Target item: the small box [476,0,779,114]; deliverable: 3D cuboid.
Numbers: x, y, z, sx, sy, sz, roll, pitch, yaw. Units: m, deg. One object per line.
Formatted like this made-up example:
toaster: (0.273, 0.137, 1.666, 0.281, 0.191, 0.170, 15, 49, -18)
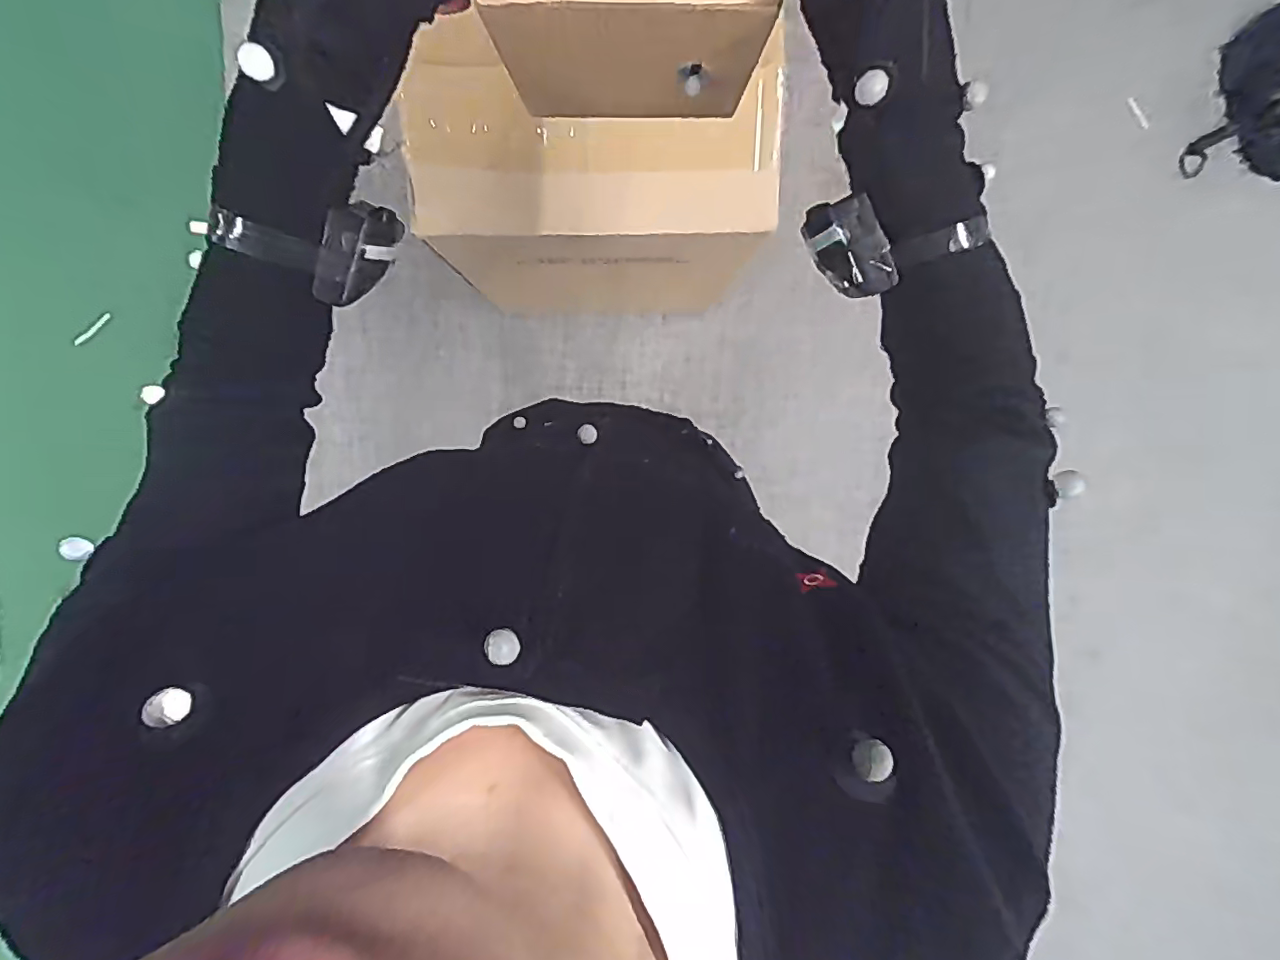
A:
small box: (-0.006, -0.368, 0.358, 0.179, 0.176, 0.168, -1, 104, 2)
